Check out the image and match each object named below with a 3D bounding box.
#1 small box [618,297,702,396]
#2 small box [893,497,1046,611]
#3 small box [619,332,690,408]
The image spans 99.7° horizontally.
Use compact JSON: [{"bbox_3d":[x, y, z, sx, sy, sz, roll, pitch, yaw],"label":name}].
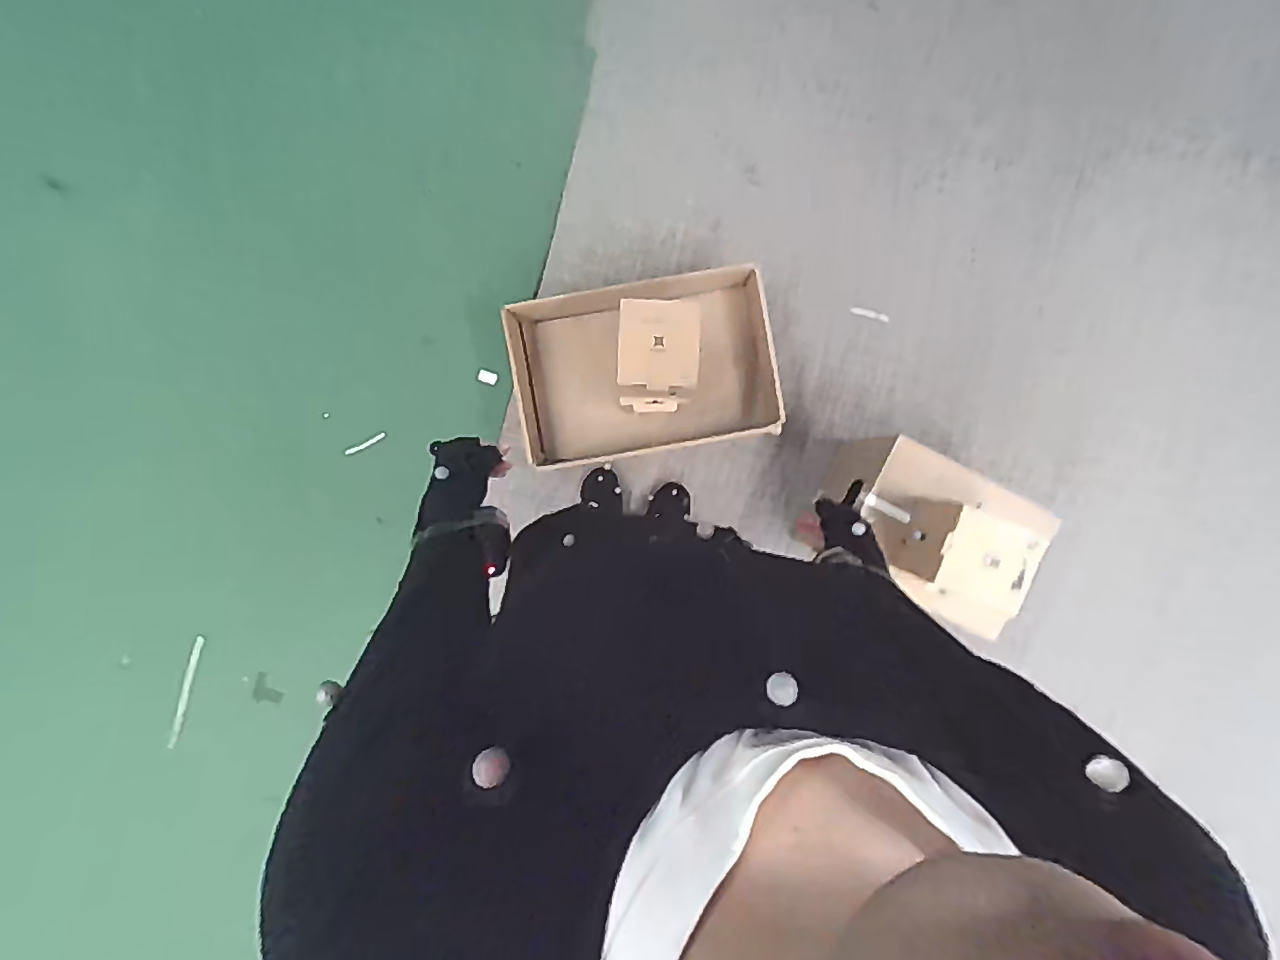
[{"bbox_3d":[0.041,-0.280,1.170,0.168,0.176,0.179,2,90,0],"label":"small box"},{"bbox_3d":[0.648,0.139,1.089,0.179,0.176,0.168,22,93,-1],"label":"small box"},{"bbox_3d":[0.038,-0.270,1.332,0.168,0.176,0.179,-2,90,1],"label":"small box"}]
